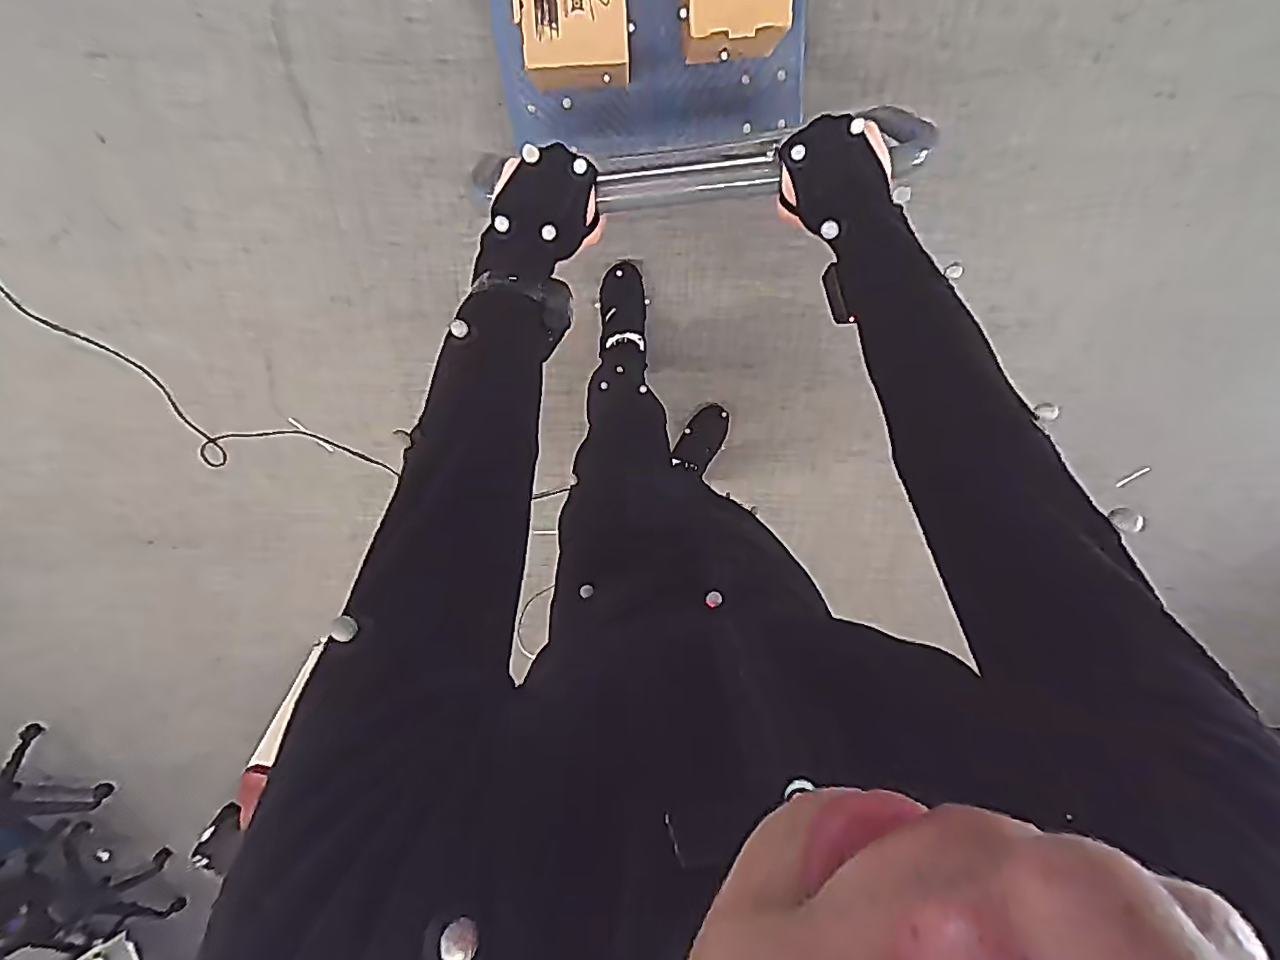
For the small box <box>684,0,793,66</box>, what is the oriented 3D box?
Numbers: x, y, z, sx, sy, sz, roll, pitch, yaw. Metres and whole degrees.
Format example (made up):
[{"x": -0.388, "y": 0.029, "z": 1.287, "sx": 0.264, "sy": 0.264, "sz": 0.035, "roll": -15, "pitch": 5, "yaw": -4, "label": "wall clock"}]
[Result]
[{"x": 0.164, "y": -0.853, "z": 0.936, "sx": 0.168, "sy": 0.176, "sz": 0.179, "roll": -5, "pitch": 116, "yaw": 3, "label": "small box"}]
